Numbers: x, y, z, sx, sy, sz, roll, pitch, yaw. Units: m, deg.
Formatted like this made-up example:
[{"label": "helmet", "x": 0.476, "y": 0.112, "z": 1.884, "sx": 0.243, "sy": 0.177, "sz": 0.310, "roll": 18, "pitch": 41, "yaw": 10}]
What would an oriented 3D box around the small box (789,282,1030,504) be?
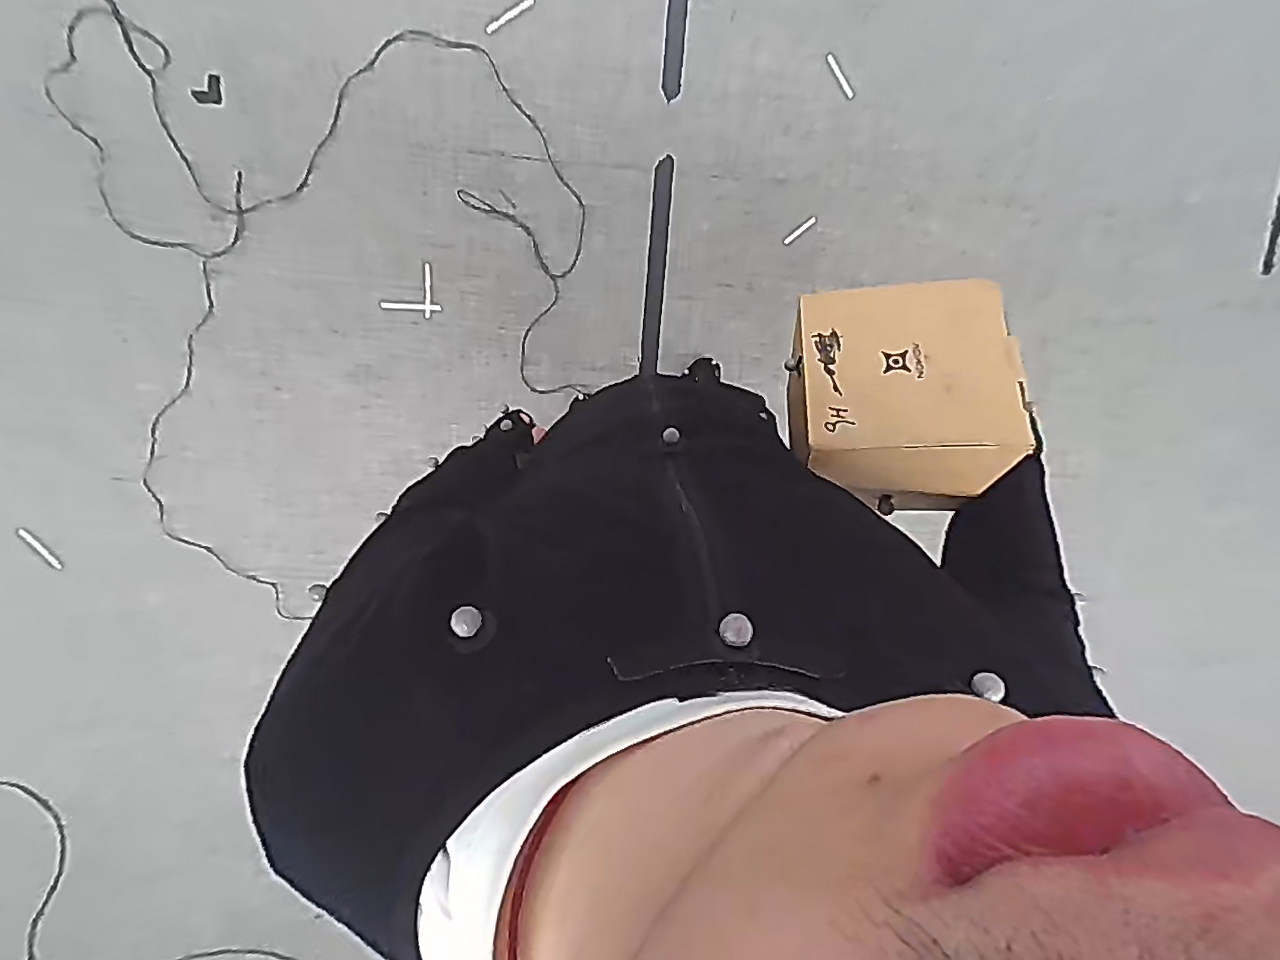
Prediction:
[{"label": "small box", "x": 0.255, "y": -0.079, "z": 0.561, "sx": 0.179, "sy": 0.176, "sz": 0.168, "roll": -1, "pitch": 68, "yaw": 10}]
